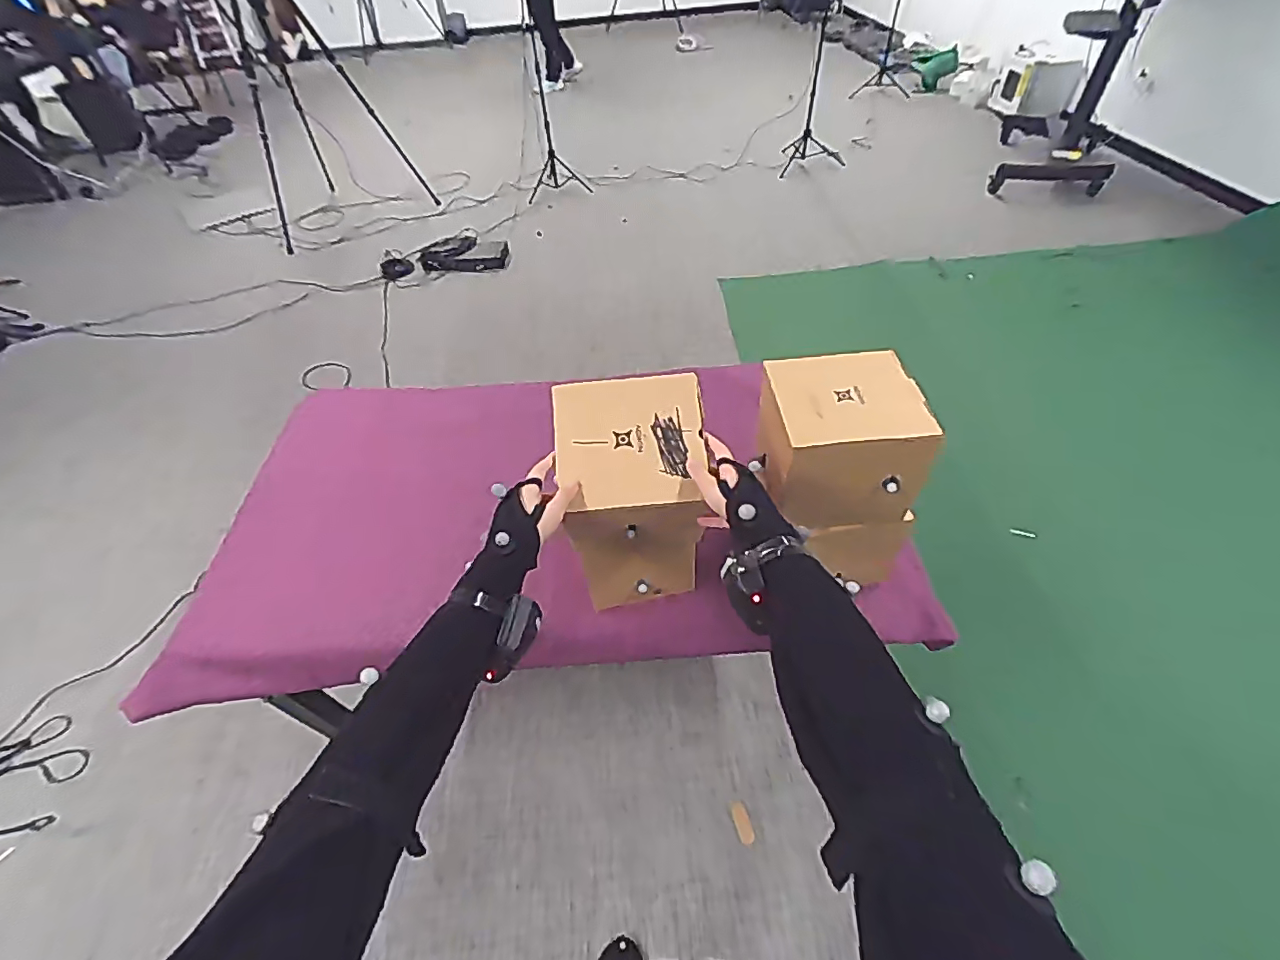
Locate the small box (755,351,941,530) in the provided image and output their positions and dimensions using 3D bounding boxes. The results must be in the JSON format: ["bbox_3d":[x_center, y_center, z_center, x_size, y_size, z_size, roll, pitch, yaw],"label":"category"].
[{"bbox_3d":[0.260,-0.049,0.725,0.179,0.176,0.168,-5,48,2],"label":"small box"}]

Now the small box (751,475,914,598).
[{"bbox_3d":[0.283,0.064,0.842,0.179,0.176,0.168,-9,49,-3],"label":"small box"}]

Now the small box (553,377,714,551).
[{"bbox_3d":[-0.011,-0.013,0.691,0.179,0.176,0.168,-5,68,-1],"label":"small box"}]

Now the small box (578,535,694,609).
[{"bbox_3d":[-0.015,0.077,0.856,0.168,0.176,0.179,-11,49,-4],"label":"small box"}]
